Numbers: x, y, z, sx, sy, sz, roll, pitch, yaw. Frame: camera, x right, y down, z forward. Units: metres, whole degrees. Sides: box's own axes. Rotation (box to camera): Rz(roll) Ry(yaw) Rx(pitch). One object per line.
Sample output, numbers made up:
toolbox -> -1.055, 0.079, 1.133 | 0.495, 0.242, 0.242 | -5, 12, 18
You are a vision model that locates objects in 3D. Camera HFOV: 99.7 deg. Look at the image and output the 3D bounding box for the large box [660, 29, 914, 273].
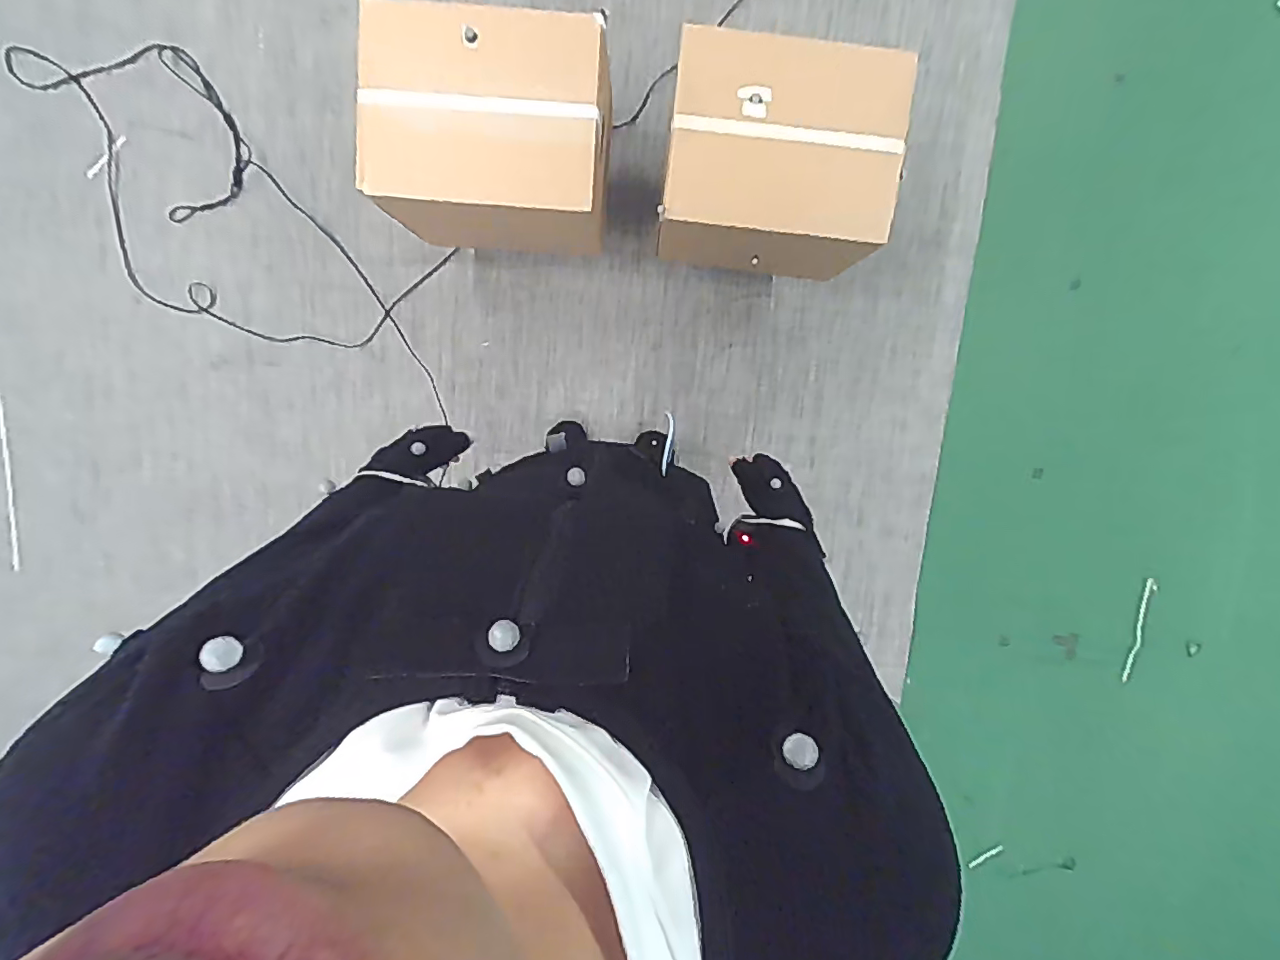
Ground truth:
large box -> 0.260, -0.623, 1.090 | 0.408, 0.320, 0.320 | 6, 98, -1
